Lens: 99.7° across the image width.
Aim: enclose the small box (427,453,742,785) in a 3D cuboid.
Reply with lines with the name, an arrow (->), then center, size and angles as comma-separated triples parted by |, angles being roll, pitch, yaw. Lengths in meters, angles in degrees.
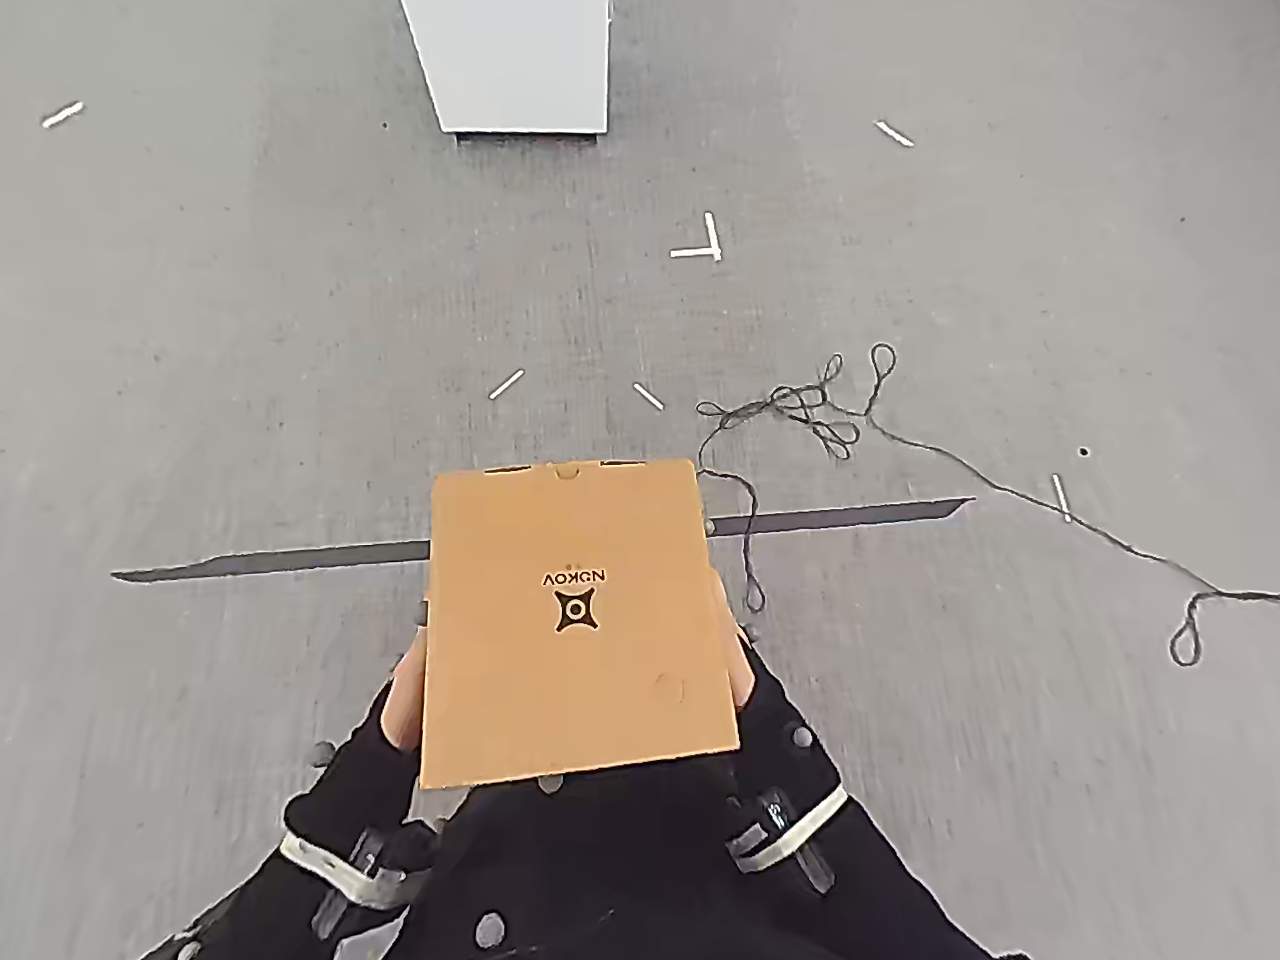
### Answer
small box -> -0.041, 0.098, 0.381 | 0.168, 0.176, 0.179 | -3, 66, -8
